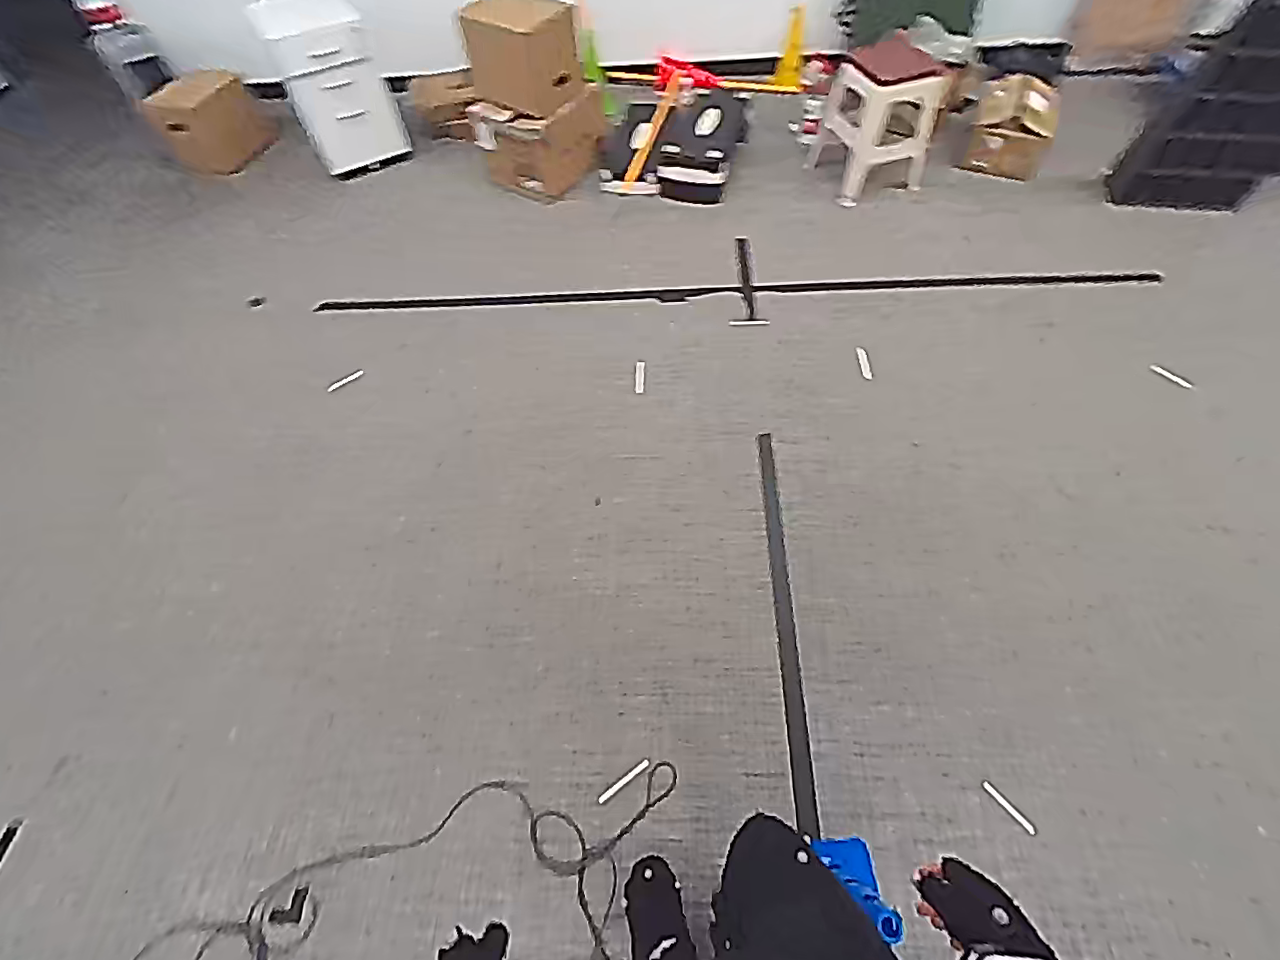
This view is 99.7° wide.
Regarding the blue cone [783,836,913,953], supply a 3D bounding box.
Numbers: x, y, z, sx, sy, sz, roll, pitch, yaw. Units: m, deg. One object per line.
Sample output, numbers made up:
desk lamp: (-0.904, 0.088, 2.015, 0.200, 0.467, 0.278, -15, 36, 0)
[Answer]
blue cone: (0.399, 0.775, 0.991, 0.192, 0.380, 0.193, -3, 58, 0)
